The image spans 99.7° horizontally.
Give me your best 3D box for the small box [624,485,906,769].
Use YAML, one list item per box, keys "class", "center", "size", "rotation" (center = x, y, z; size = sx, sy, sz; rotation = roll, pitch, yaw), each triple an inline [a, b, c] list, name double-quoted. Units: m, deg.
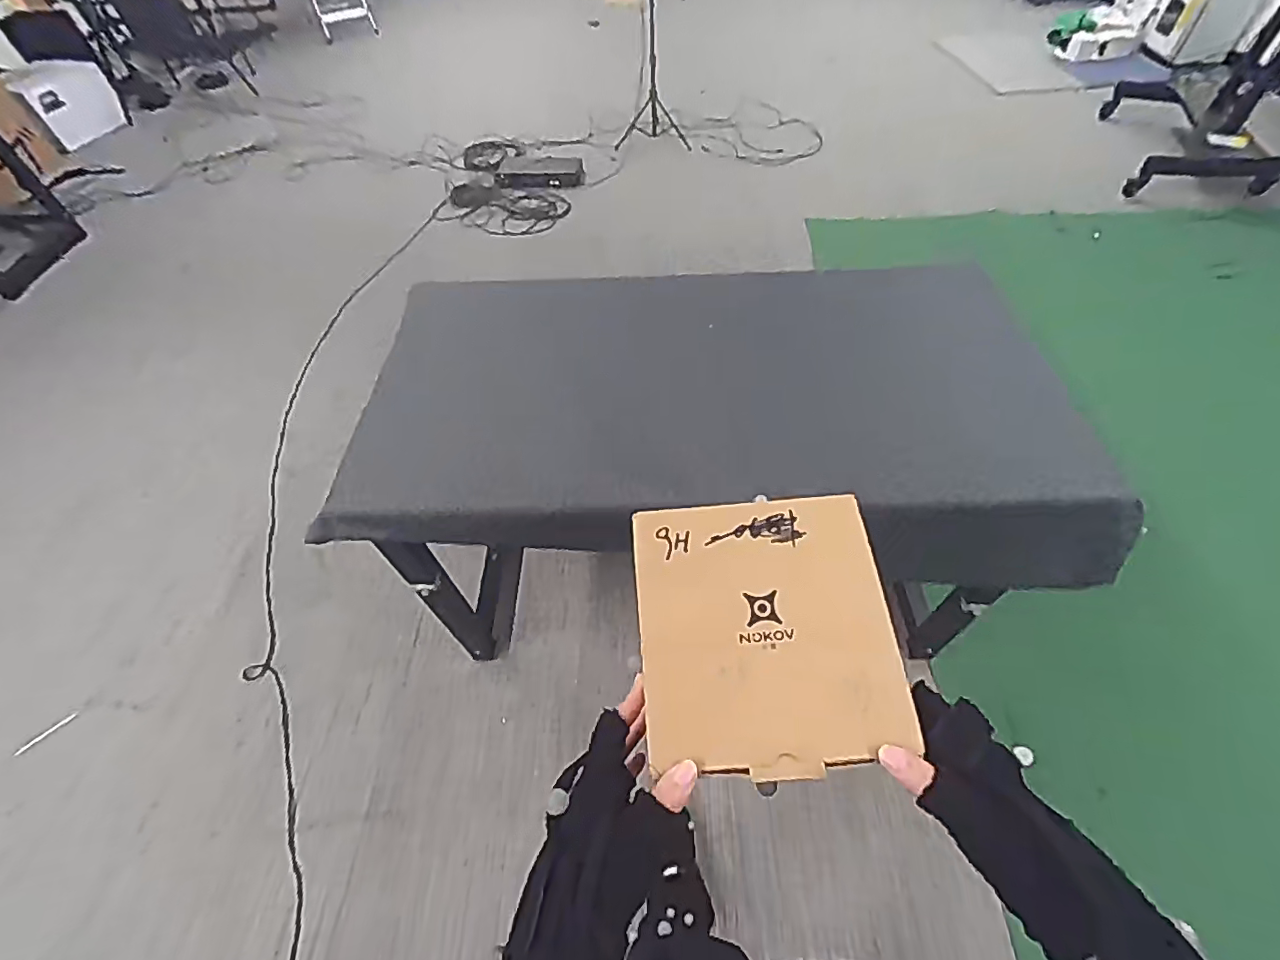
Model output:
- class: "small box"
  center: [0.081, 0.123, 0.435]
  size: [0.168, 0.176, 0.179]
  rotation: [-6, 64, 2]
